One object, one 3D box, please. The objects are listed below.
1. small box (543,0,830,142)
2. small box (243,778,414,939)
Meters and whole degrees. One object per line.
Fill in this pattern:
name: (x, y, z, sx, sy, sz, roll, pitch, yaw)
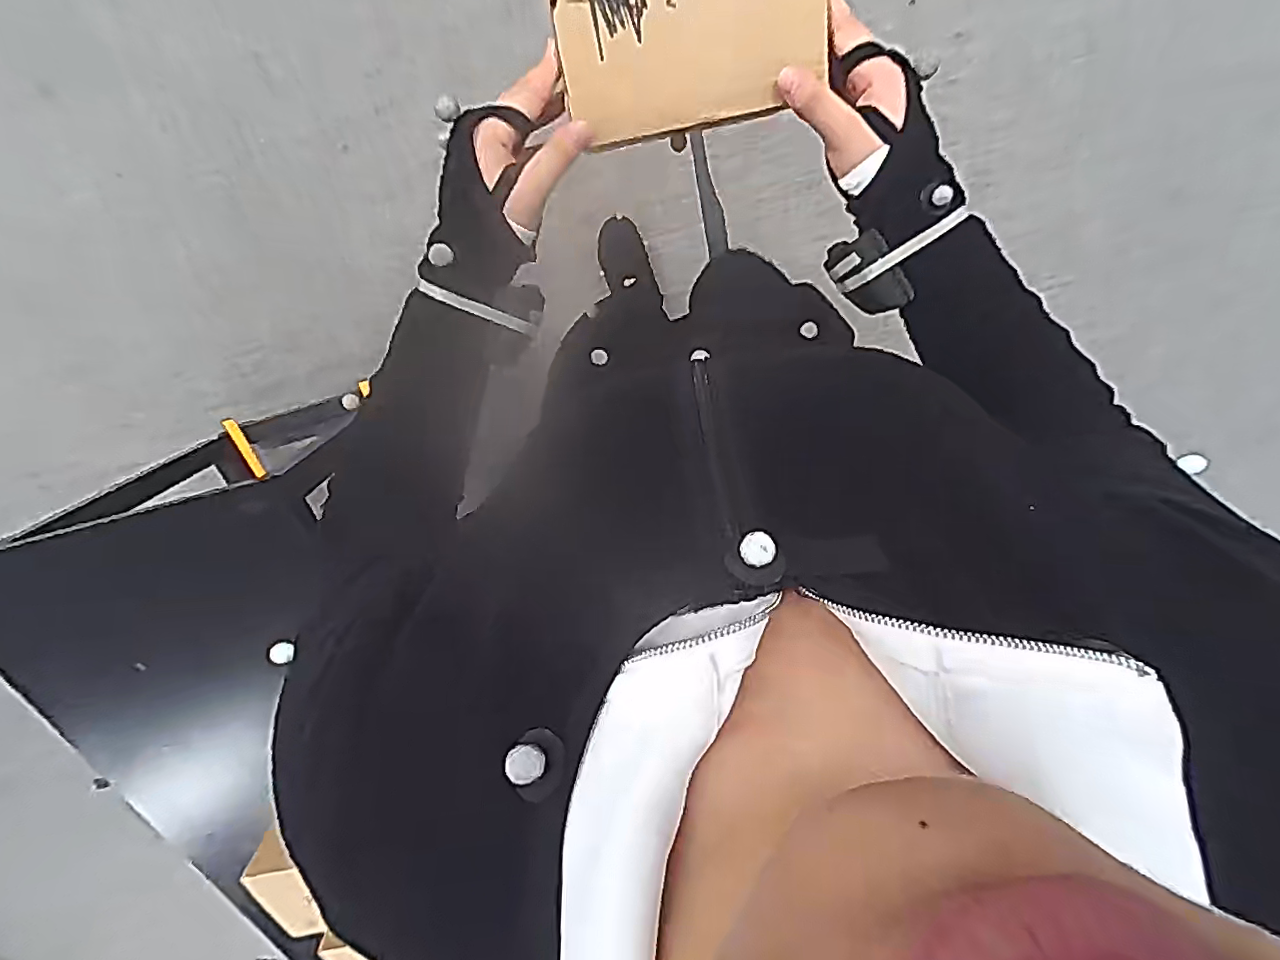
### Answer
small box: (0.023, -0.353, 0.386, 0.179, 0.176, 0.168, -10, 120, 3)
small box: (-0.529, 0.651, 0.948, 0.168, 0.176, 0.179, -13, 115, 5)
